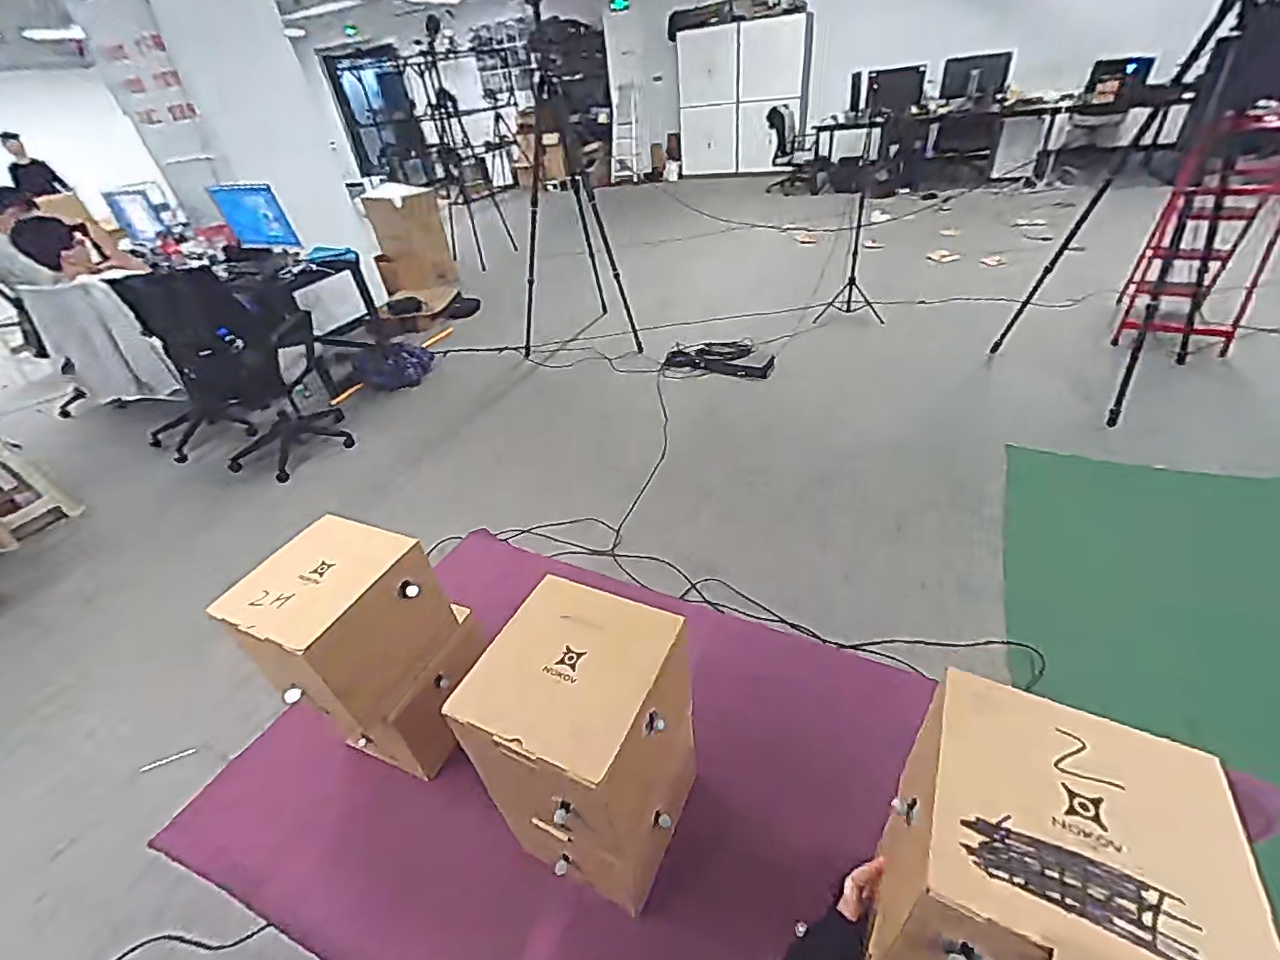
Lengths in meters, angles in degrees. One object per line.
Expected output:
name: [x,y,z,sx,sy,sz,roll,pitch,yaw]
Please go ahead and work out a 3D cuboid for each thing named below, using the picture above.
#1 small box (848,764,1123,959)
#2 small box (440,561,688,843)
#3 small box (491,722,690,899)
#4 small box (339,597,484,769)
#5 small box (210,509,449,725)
small box: [0.293,0.408,0.481,0.168,0.176,0.179,17,39,28]
small box: [-0.057,0.216,0.539,0.168,0.176,0.179,12,41,24]
small box: [-0.043,0.357,0.654,0.168,0.176,0.179,10,40,23]
small box: [-0.339,0.283,0.798,0.168,0.176,0.179,10,42,21]
small box: [-0.367,0.167,0.681,0.168,0.176,0.179,11,42,22]
